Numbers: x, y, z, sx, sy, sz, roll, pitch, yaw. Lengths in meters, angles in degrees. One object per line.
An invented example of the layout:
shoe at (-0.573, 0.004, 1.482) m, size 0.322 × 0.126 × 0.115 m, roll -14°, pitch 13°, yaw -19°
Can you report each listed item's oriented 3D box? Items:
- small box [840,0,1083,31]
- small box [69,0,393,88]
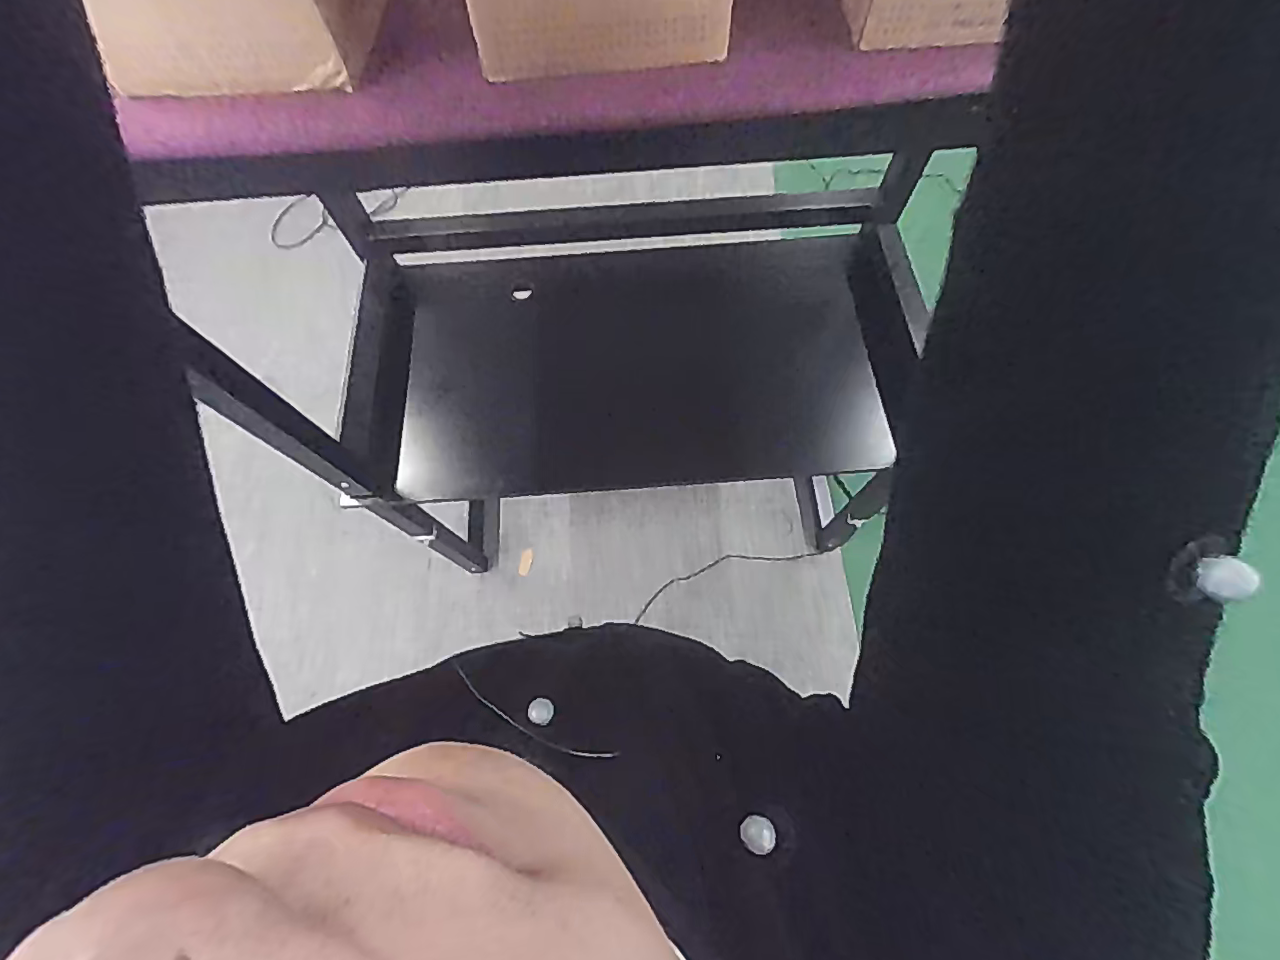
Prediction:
small box at (0.228, -0.429, 0.349) m, size 0.168 × 0.176 × 0.179 m, roll -2°, pitch 68°, yaw 1°
small box at (-0.289, -0.391, 0.353) m, size 0.179 × 0.176 × 0.168 m, roll 0°, pitch 67°, yaw 1°
